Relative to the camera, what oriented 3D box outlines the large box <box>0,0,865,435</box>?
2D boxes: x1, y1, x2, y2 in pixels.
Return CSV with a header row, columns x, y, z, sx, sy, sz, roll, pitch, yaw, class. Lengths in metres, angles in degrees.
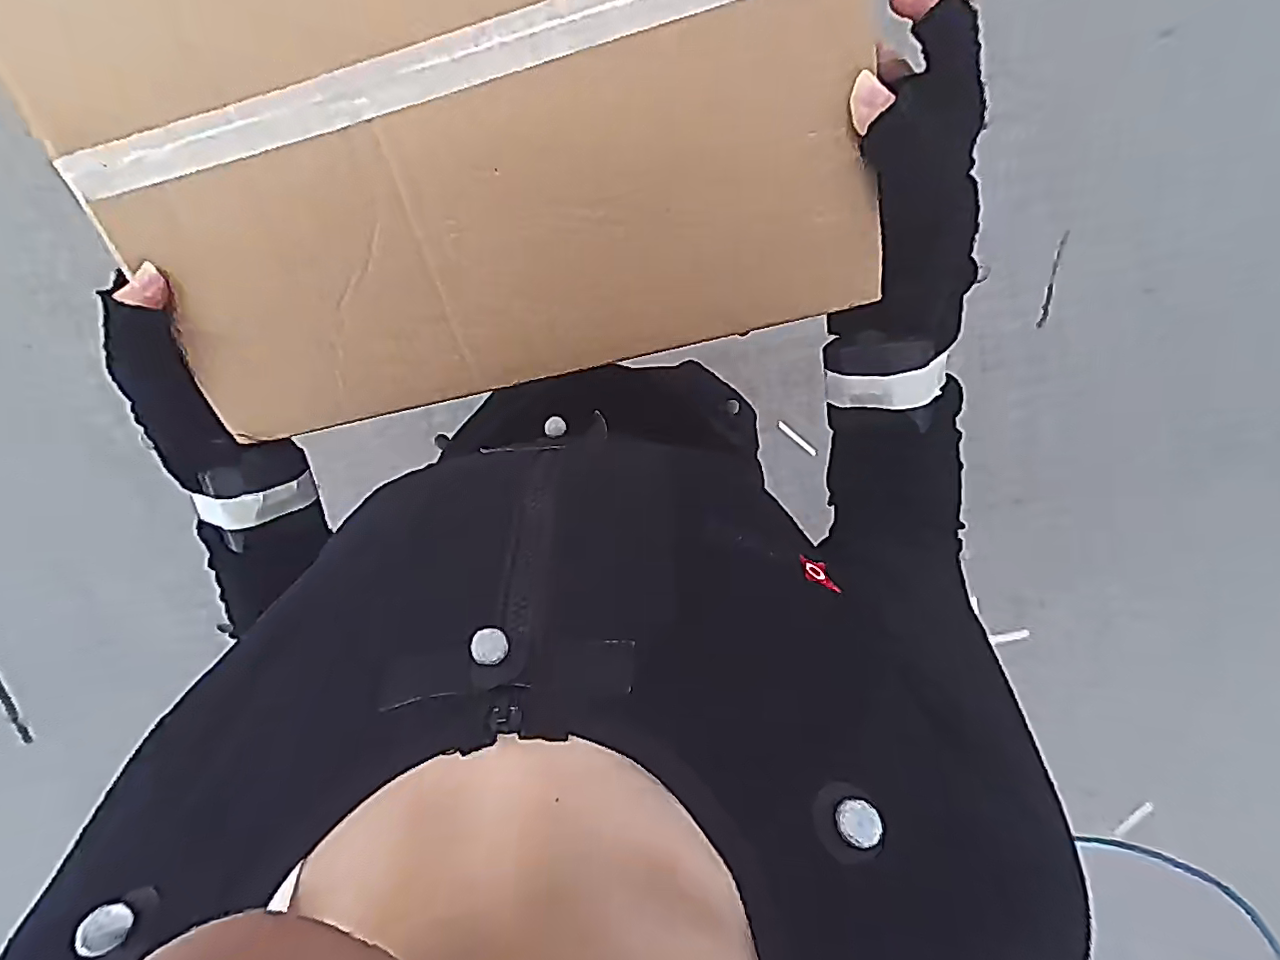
x,y,z,sx,sy,sz,roll,pitch,yaw,class
-0.095,-0.271,0.394,0.408,0.320,0.320,-11,117,8,large box
